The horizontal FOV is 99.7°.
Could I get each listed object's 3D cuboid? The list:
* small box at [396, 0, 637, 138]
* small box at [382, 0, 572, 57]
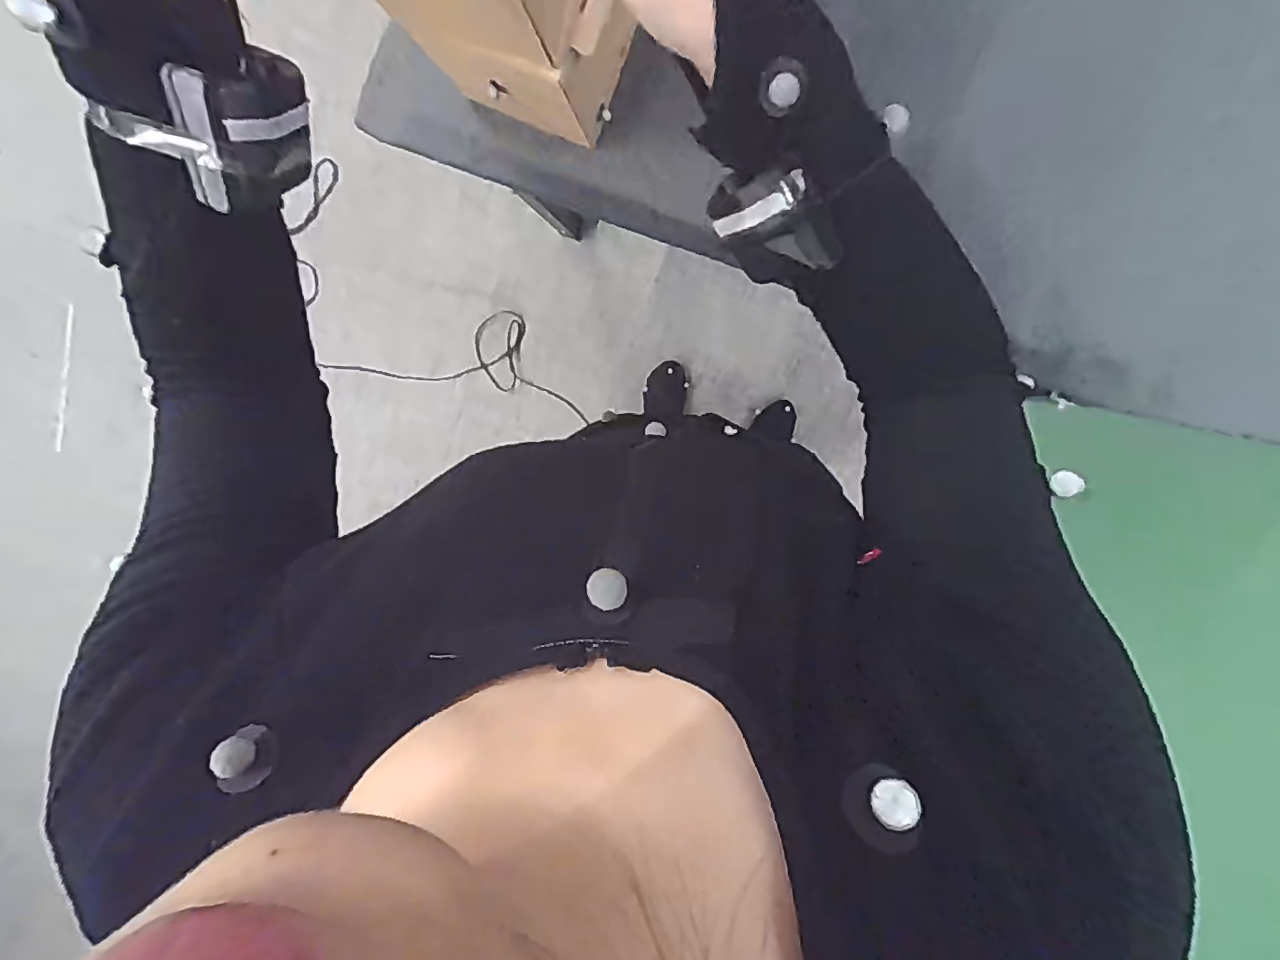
[{"bbox_3d":[-0.115,-0.497,0.571,0.179,0.176,0.168,23,104,2],"label":"small box"},{"bbox_3d":[-0.145,-0.472,0.413,0.179,0.176,0.168,18,104,3],"label":"small box"}]
